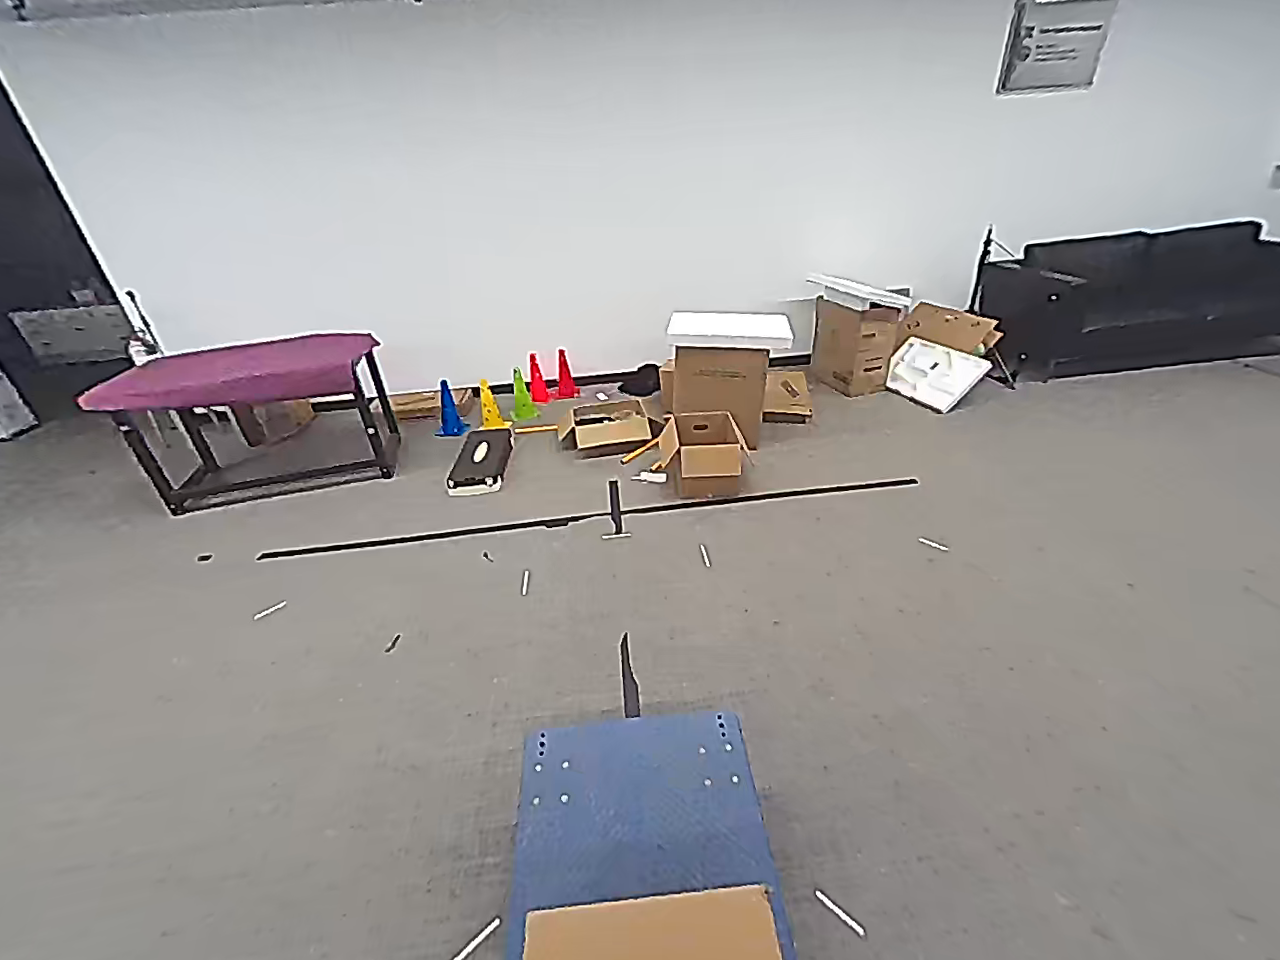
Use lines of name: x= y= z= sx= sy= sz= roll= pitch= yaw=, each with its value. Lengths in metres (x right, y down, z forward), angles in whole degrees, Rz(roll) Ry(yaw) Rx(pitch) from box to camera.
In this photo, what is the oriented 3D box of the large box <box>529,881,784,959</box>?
large box: x=0.036 y=0.914 z=0.877 sx=0.408 sy=0.320 sz=0.320 roll=-5 pitch=37 yaw=-3
